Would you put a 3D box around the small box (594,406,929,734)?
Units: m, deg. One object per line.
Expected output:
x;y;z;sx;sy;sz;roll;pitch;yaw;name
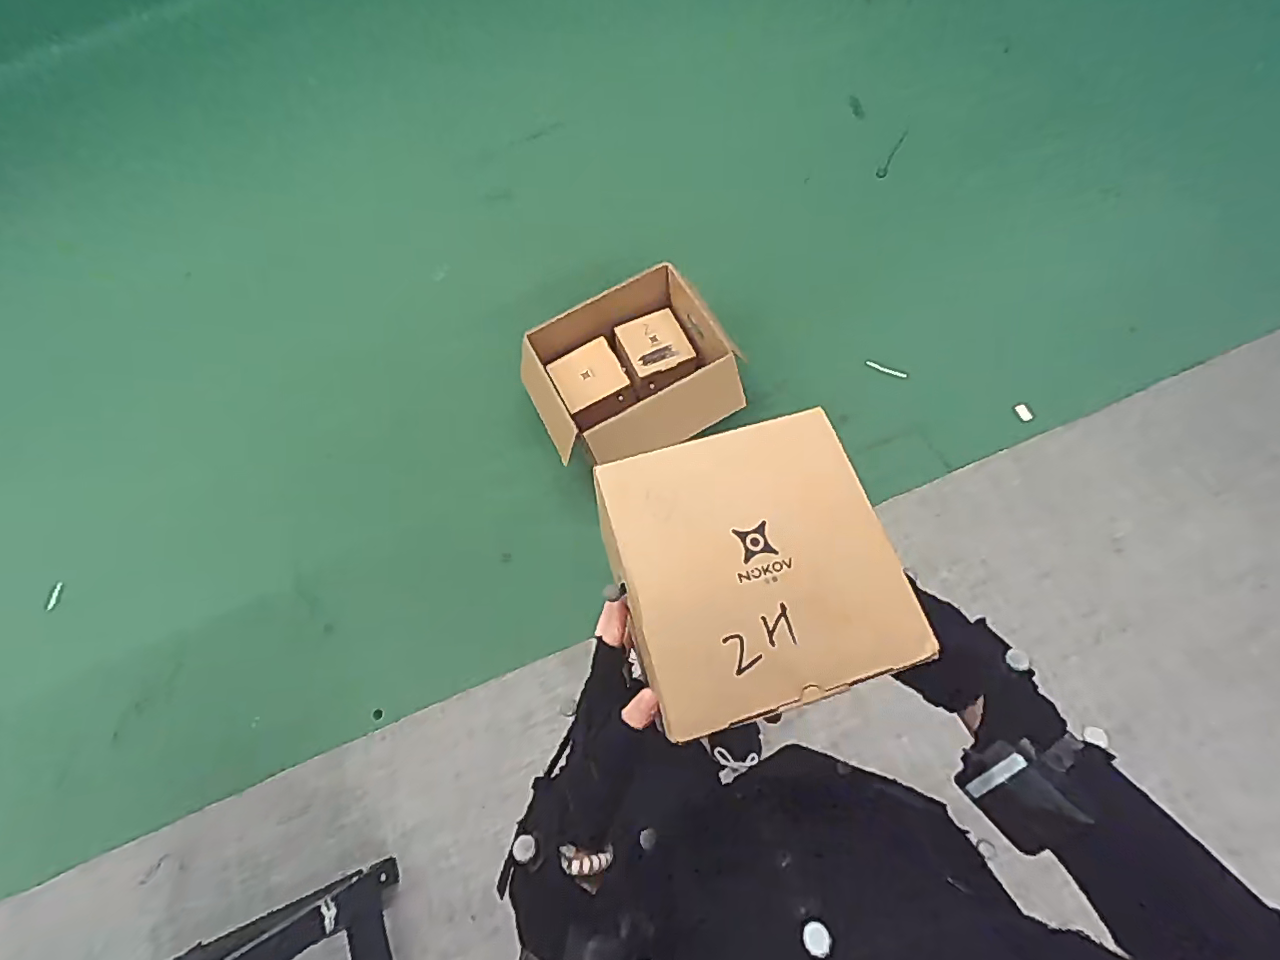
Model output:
0.067;0.074;0.410;0.168;0.176;0.179;-16;70;-7;small box
